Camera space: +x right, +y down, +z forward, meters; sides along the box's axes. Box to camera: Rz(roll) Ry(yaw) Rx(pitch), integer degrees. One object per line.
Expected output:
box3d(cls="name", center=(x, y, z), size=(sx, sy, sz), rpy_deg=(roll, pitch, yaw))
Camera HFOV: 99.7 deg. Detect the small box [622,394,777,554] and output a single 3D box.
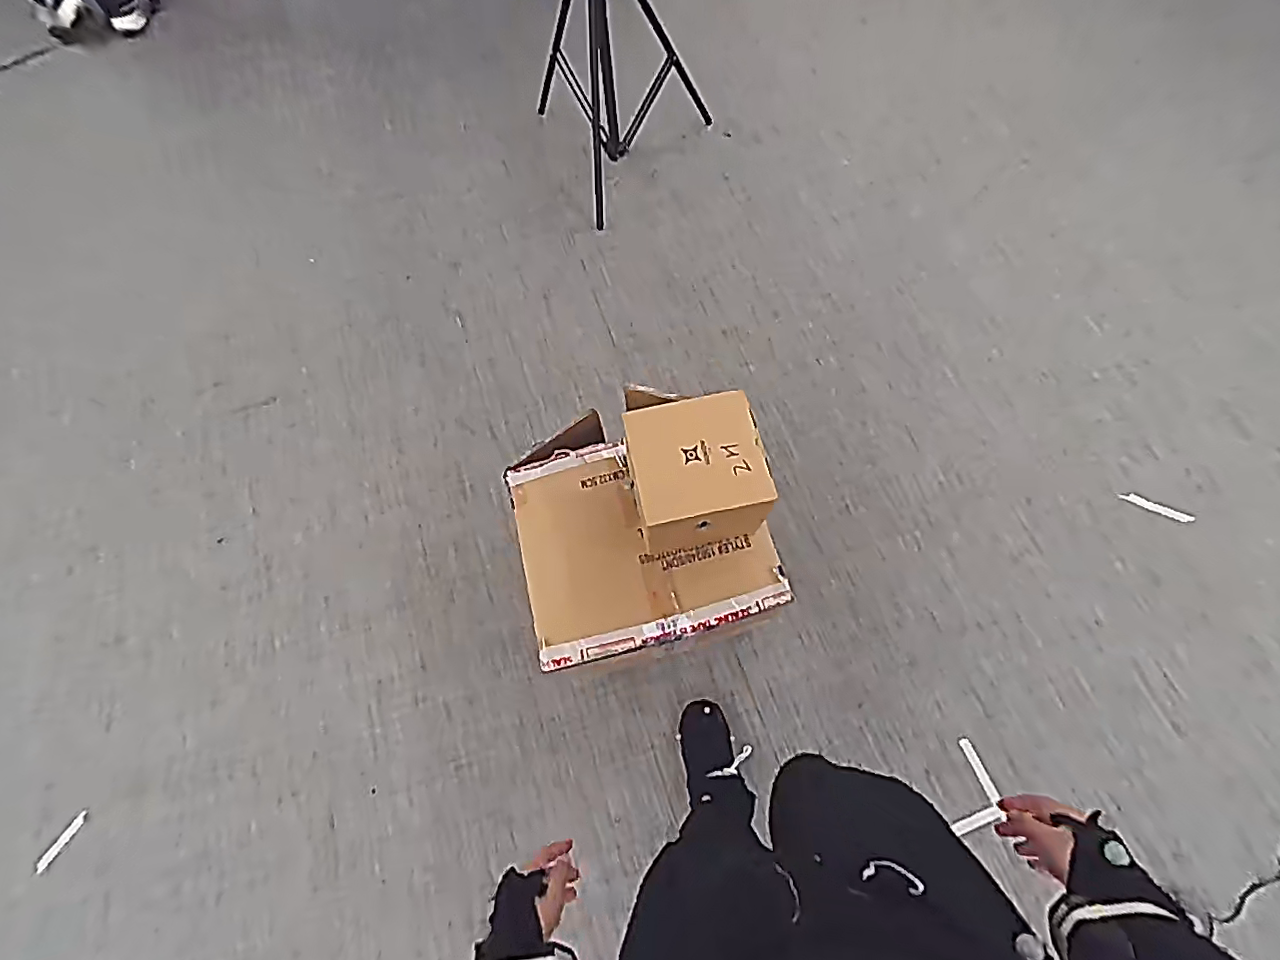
box3d(cls="small box", center=(0.078, 0.000, 0.784), size=(0.179, 0.176, 0.168), rpy_deg=(-12, 70, -3))
